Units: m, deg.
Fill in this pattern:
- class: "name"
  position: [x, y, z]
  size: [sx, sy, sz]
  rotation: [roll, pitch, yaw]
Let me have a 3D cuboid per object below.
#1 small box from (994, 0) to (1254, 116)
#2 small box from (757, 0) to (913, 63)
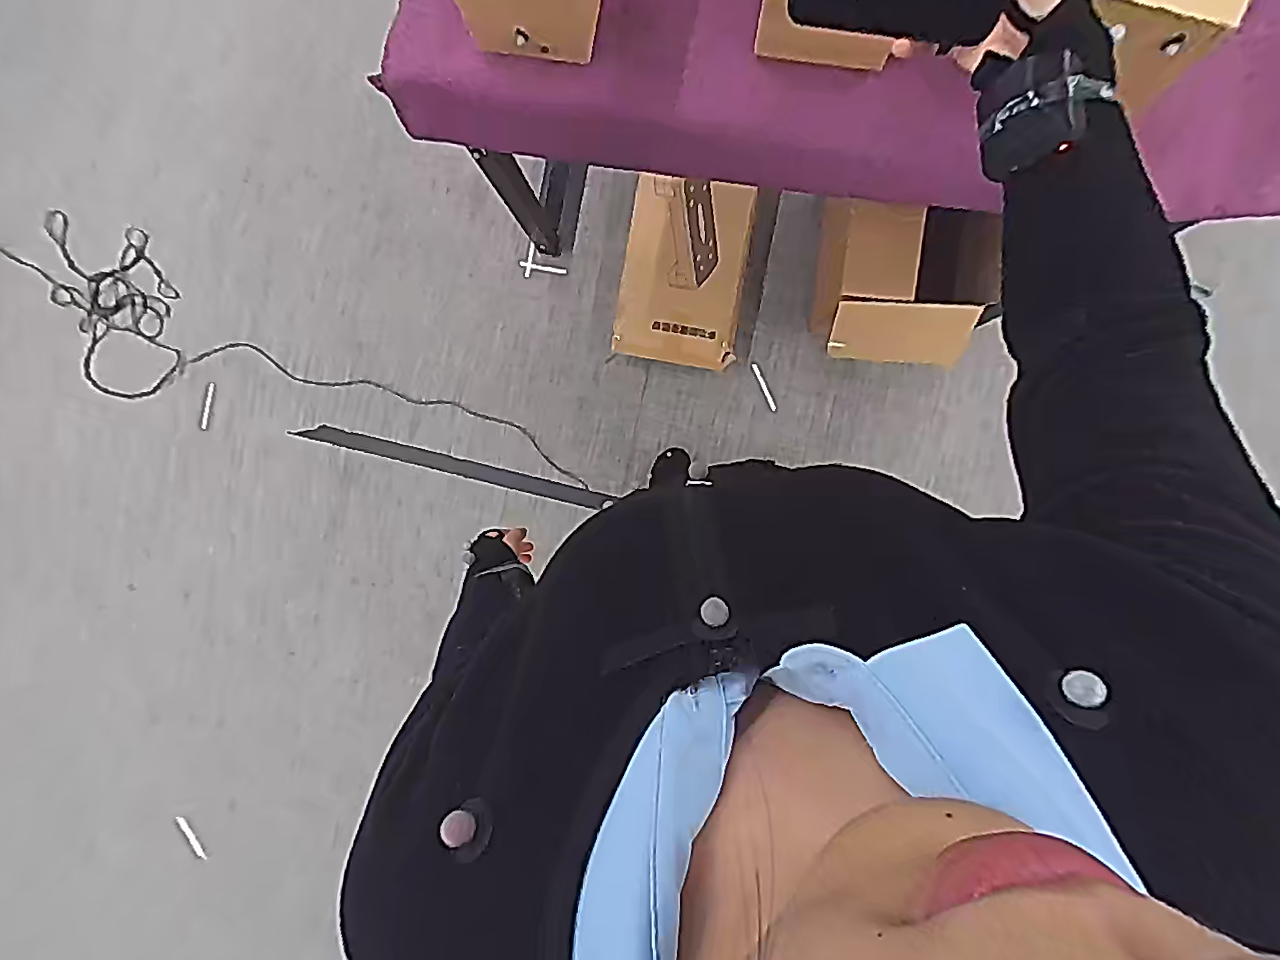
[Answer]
- class: "small box"
  position: [0.558, -0.566, 0.625]
  size: [0.179, 0.176, 0.168]
  rotation: [18, 93, 4]
- class: "small box"
  position: [0.251, -0.647, 0.648]
  size: [0.179, 0.176, 0.168]
  rotation: [10, 90, 5]
